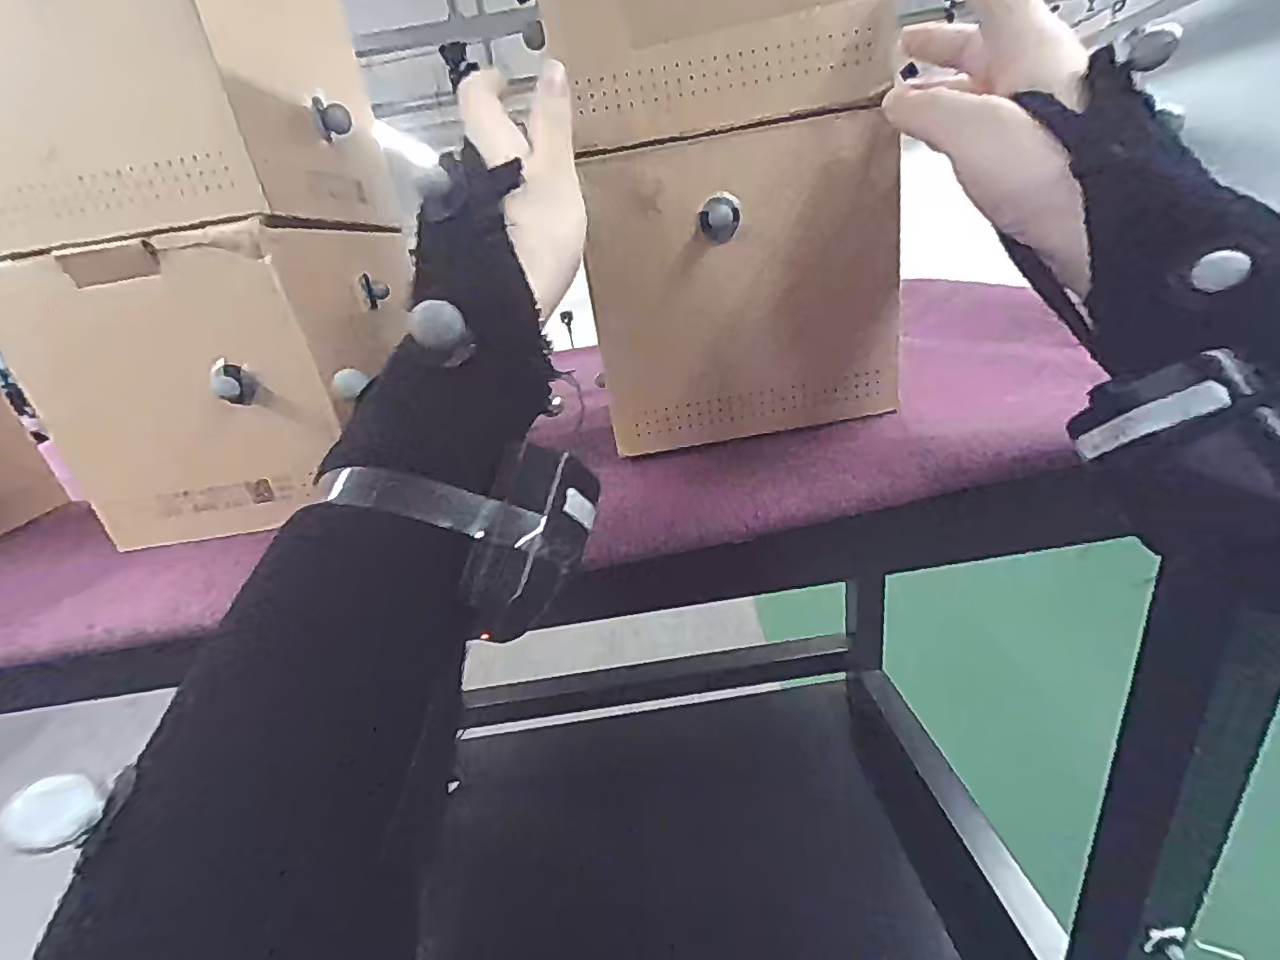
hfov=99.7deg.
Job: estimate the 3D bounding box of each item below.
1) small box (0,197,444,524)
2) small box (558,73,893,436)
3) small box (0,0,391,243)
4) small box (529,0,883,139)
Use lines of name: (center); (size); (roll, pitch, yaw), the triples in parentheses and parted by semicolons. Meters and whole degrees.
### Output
small box: (-0.253, -0.078, 0.367); (0.168, 0.176, 0.179); (-8, 22, 2)
small box: (0.054, -0.135, 0.370); (0.179, 0.176, 0.168); (-10, 20, 0)
small box: (-0.278, -0.229, 0.305); (0.179, 0.176, 0.168); (-8, 23, 2)
small box: (0.025, -0.286, 0.318); (0.179, 0.176, 0.168); (-10, 20, 1)
